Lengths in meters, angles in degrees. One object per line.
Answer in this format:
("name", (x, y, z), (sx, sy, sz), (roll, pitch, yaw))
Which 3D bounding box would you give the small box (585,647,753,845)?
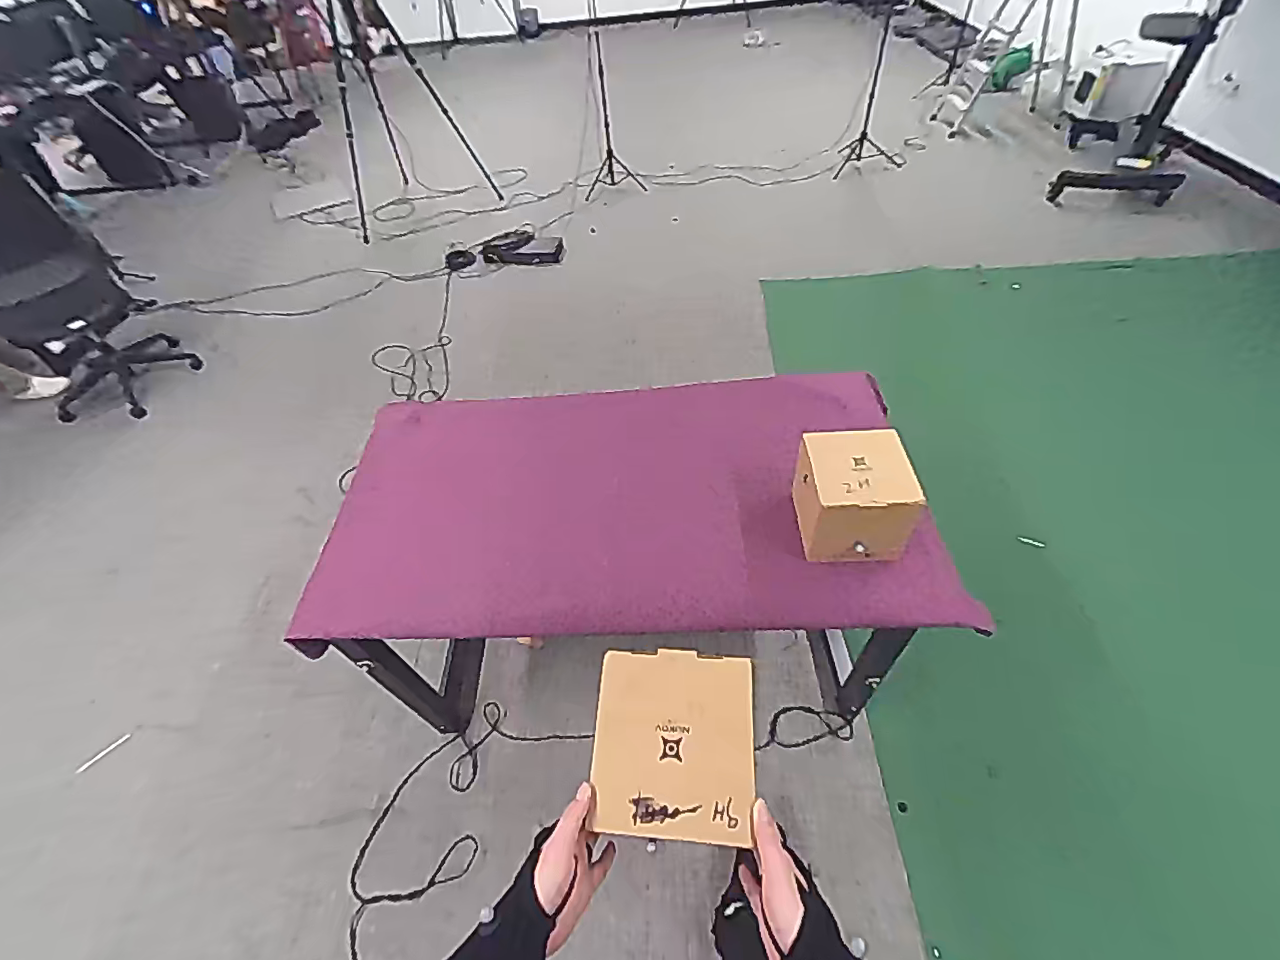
("small box", (0.043, 0.309, 0.628), (0.168, 0.176, 0.179), (1, 58, 9))

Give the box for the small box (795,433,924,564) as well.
("small box", (0.383, 0.035, 0.983), (0.168, 0.176, 0.179), (-2, 48, 6))
